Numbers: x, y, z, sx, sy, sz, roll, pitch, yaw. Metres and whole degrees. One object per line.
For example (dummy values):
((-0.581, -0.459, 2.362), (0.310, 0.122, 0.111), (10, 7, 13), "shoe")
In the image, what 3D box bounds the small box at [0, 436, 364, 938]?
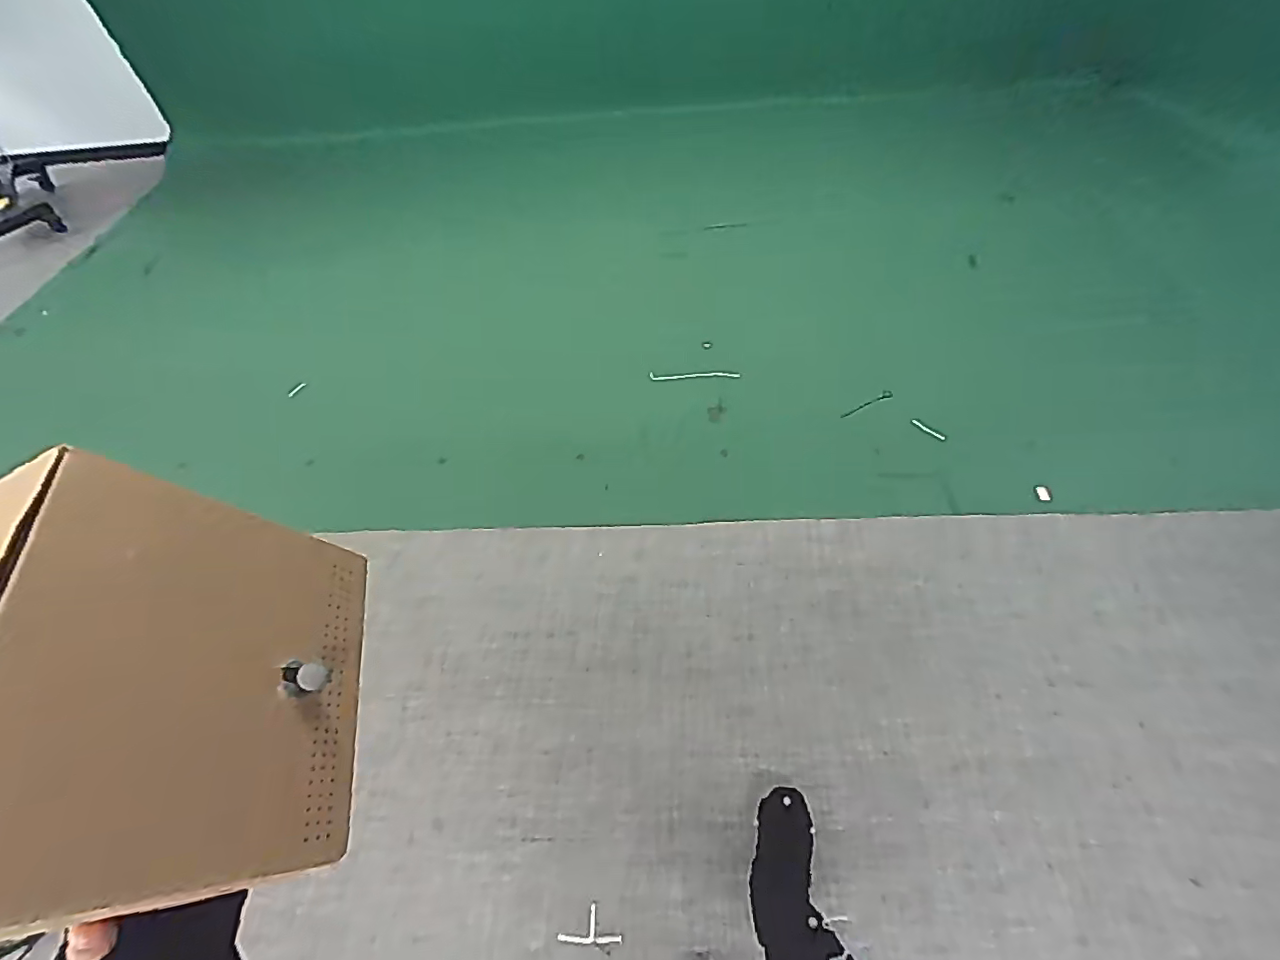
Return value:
((-0.267, 0.113, 0.270), (0.168, 0.176, 0.179), (-22, 58, 14), "small box")
